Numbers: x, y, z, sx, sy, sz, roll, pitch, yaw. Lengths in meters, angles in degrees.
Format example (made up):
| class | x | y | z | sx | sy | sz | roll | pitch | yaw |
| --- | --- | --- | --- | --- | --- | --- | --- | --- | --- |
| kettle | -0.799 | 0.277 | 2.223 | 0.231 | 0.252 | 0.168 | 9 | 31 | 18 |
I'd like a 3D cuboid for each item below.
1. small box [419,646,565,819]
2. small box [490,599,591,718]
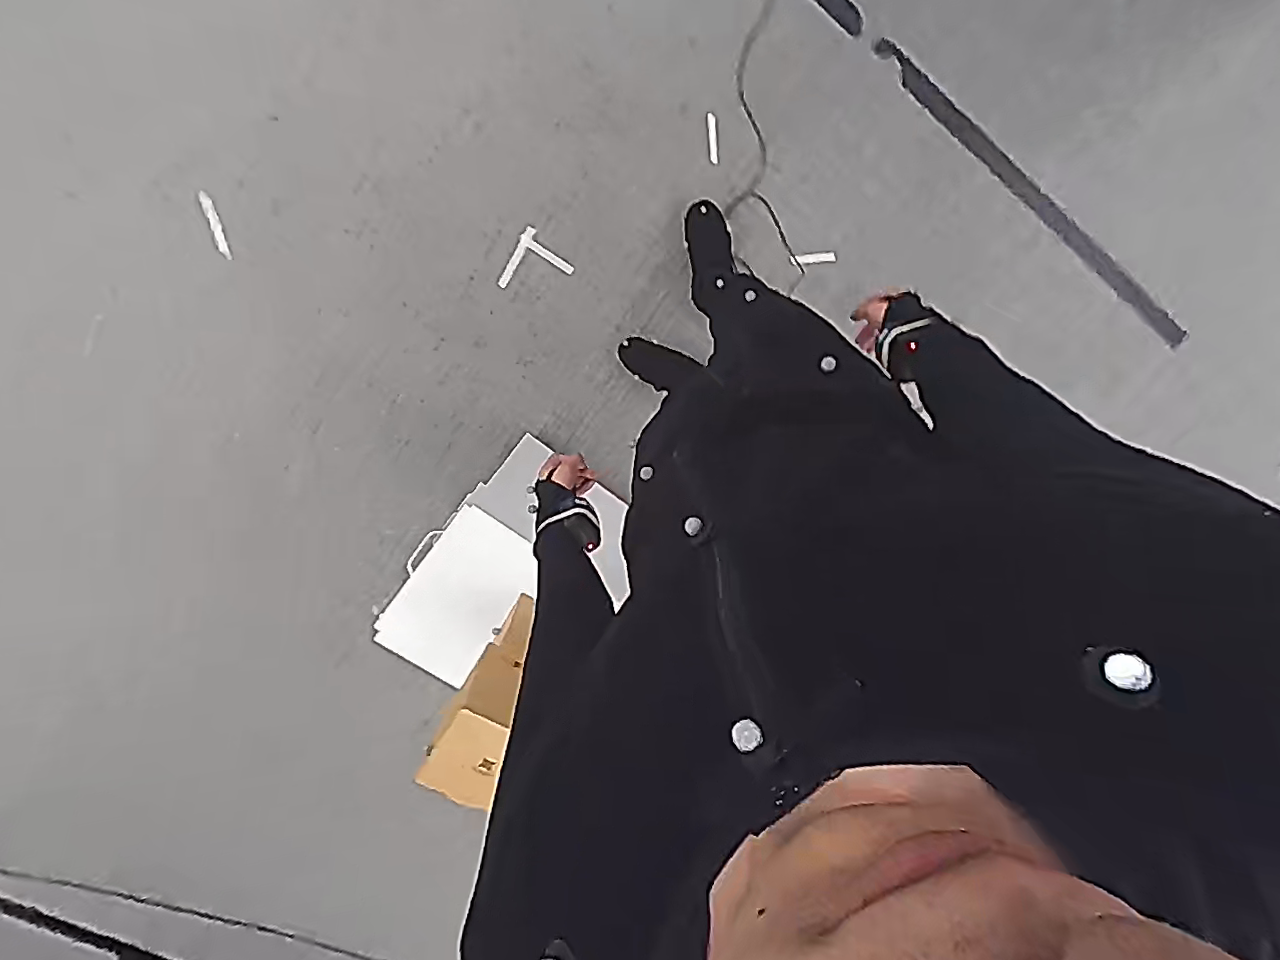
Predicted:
| class | x | y | z | sx | sy | sz | roll | pitch | yaw |
| --- | --- | --- | --- | --- | --- | --- | --- | --- | --- |
| small box | -0.239 | 0.418 | 0.918 | 0.168 | 0.176 | 0.179 | 30 | 107 | -10 |
| small box | -0.209 | 0.365 | 1.072 | 0.179 | 0.176 | 0.168 | 29 | 106 | -9 |
